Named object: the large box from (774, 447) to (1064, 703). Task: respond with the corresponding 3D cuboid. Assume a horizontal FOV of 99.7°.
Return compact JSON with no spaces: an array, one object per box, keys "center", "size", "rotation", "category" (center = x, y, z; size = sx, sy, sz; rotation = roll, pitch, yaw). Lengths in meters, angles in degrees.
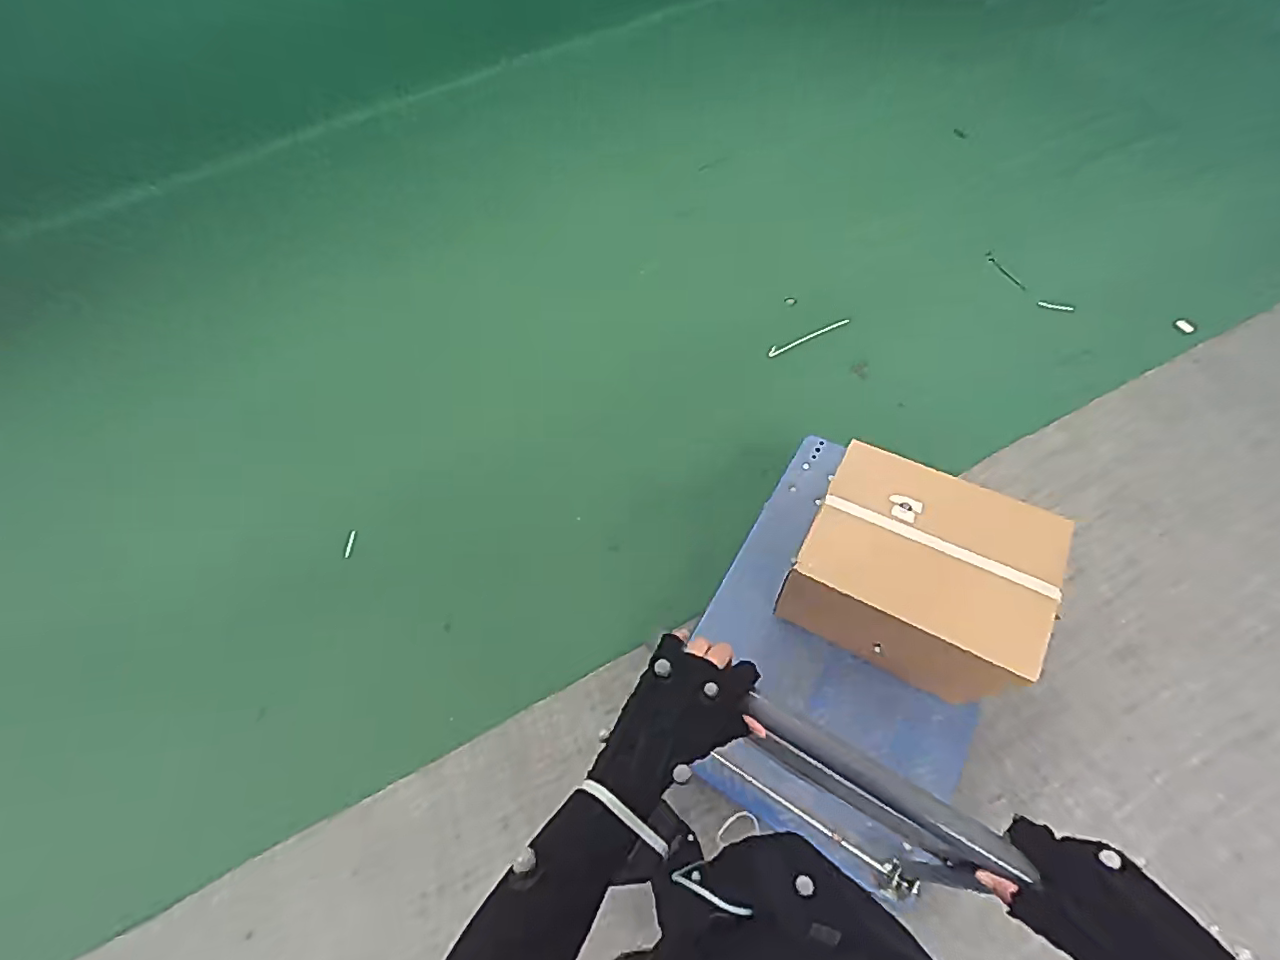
[{"center":[0.527,0.196,1.092],"size":[0.408,0.320,0.320],"rotation":[24,66,20],"category":"large box"}]
